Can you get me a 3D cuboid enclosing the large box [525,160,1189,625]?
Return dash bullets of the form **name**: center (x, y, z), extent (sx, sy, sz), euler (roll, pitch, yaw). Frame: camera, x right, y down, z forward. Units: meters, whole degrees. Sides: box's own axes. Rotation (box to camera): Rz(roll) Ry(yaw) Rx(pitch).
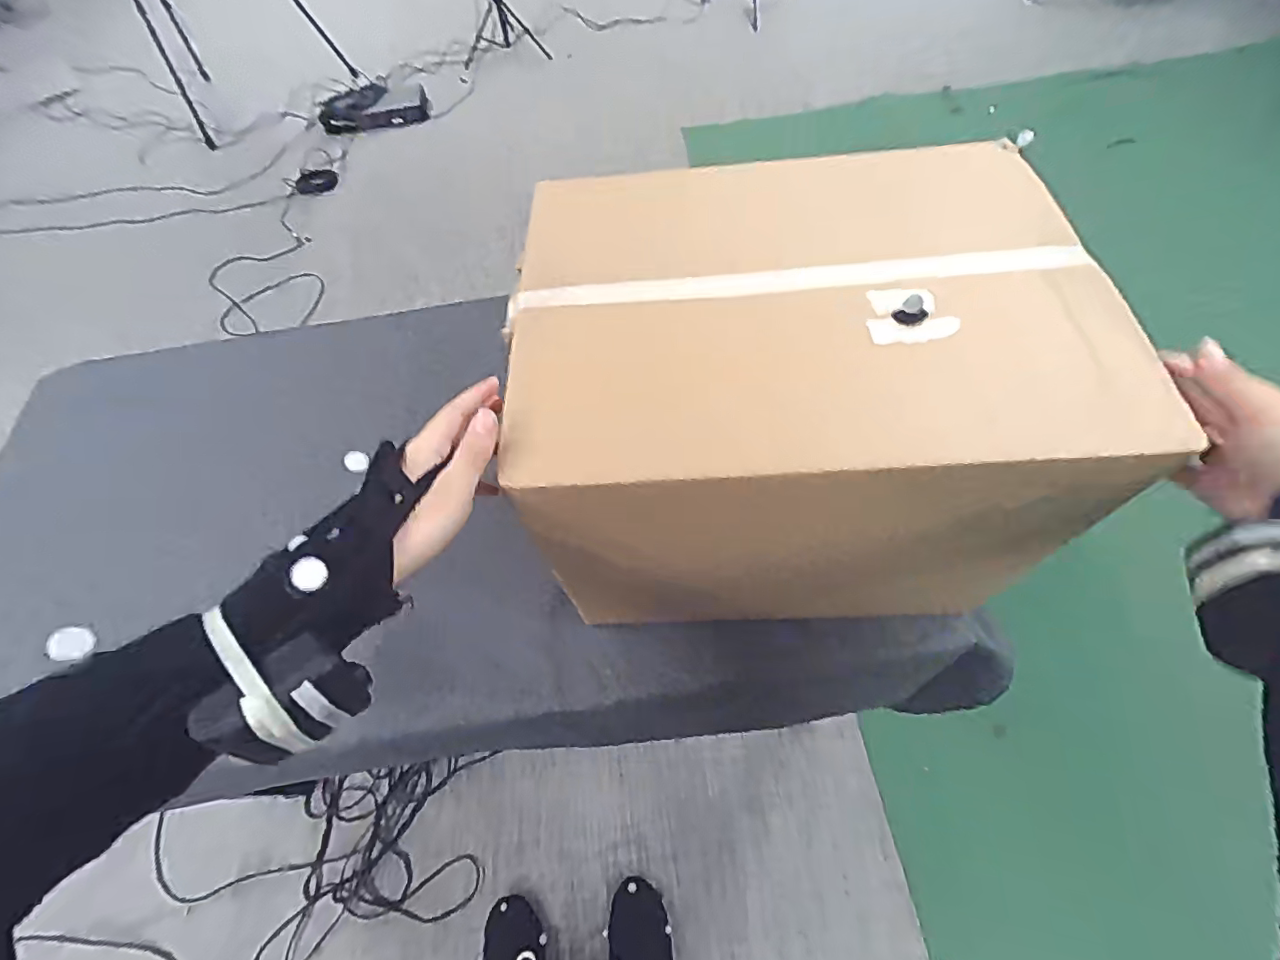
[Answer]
- **large box**: center (0.129, -0.060, 0.525), extent (0.408, 0.320, 0.320), euler (-3, 60, 3)
